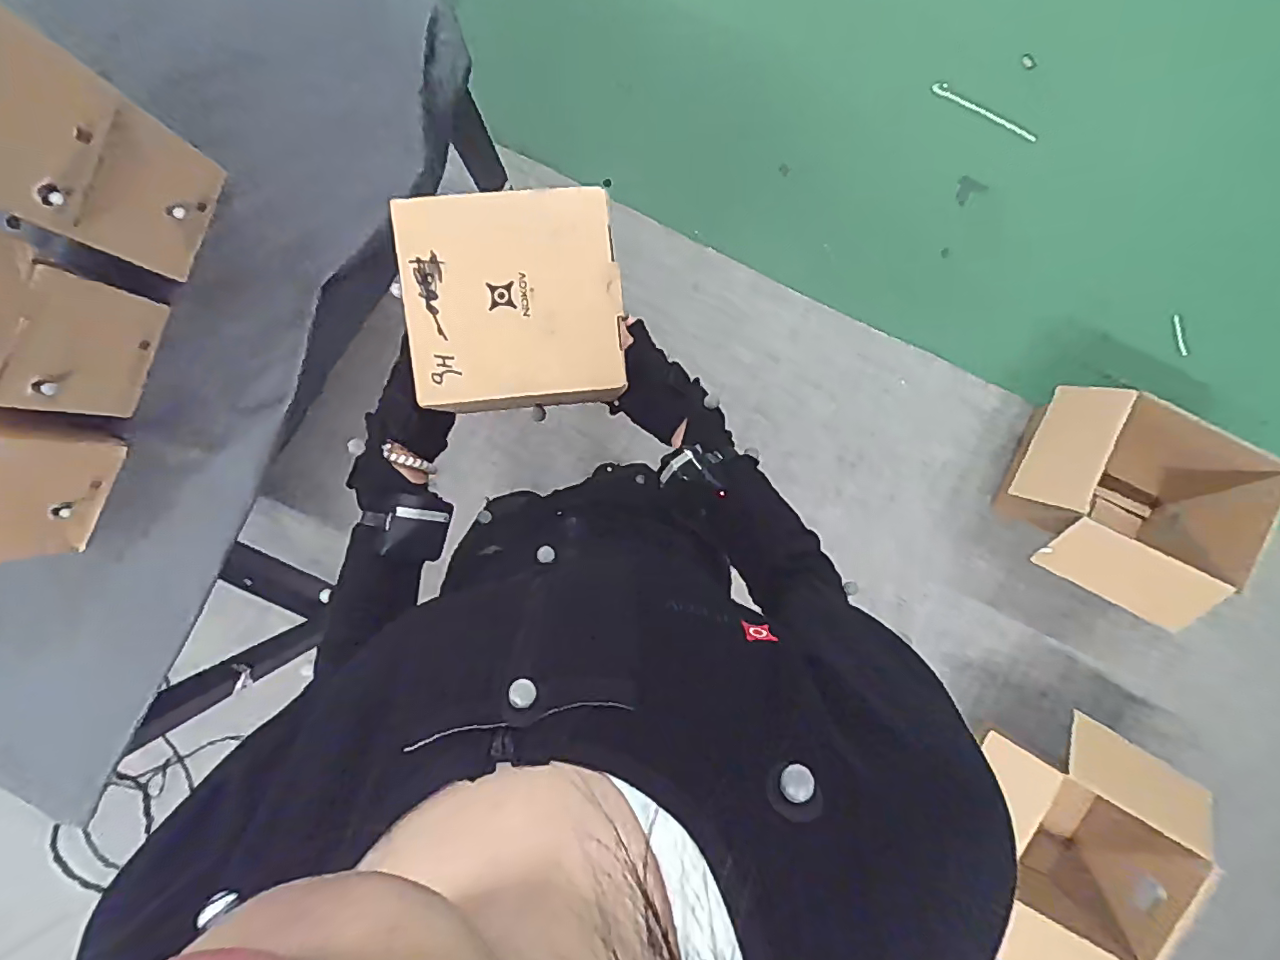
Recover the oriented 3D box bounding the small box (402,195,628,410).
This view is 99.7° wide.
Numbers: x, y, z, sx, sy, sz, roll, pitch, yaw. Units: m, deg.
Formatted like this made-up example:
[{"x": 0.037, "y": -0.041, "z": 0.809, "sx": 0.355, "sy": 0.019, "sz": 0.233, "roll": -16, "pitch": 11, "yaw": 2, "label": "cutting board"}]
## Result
[{"x": -0.111, "y": -0.159, "z": 0.530, "sx": 0.179, "sy": 0.176, "sz": 0.168, "roll": -5, "pitch": 94, "yaw": -6, "label": "small box"}]
